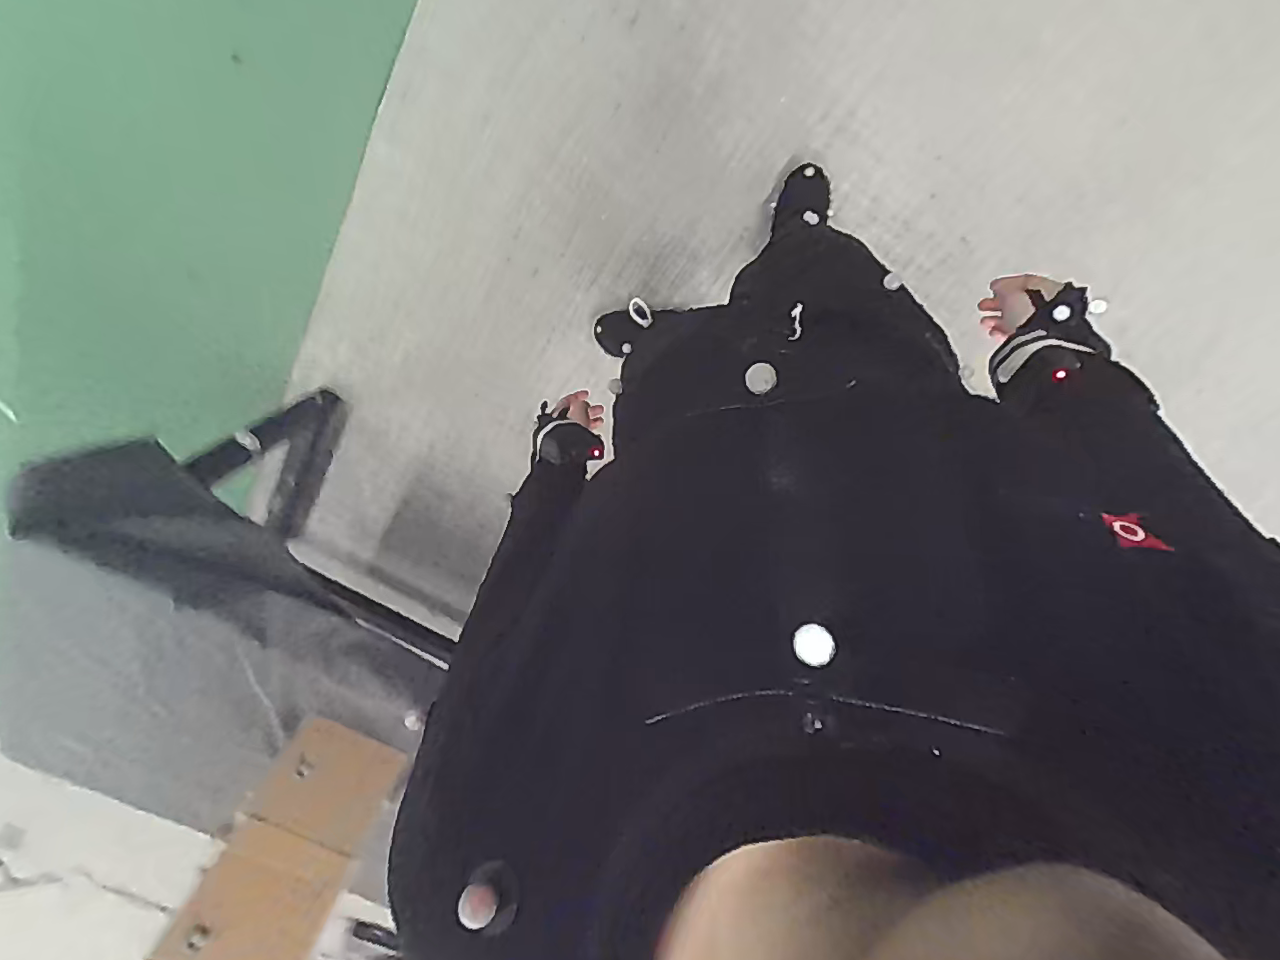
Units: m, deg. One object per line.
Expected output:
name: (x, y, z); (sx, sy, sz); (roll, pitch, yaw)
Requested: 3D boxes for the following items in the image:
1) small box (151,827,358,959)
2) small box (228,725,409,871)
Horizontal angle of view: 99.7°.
small box: (-0.522, 0.610, 0.729); (0.179, 0.176, 0.168); (33, 117, -10)
small box: (-0.511, 0.528, 0.869); (0.179, 0.176, 0.168); (30, 117, -11)
